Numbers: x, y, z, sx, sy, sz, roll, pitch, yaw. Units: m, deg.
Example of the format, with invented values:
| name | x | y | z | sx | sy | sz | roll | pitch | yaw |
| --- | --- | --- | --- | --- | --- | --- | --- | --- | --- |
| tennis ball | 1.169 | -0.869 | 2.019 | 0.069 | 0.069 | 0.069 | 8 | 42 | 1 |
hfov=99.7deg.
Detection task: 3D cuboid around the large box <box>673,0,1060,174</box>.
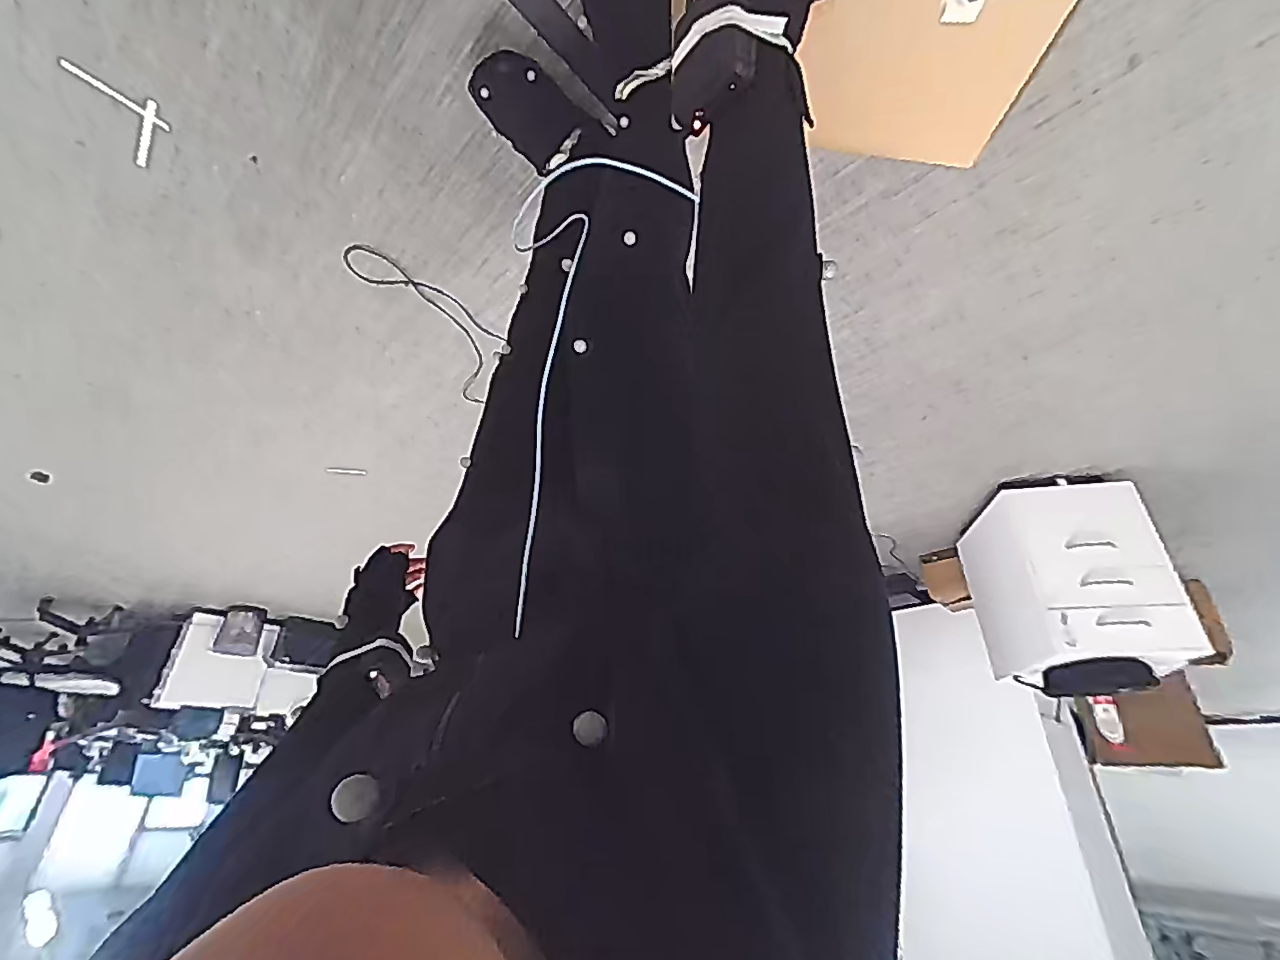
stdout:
| name | x | y | z | sx | sy | sz | roll | pitch | yaw |
| --- | --- | --- | --- | --- | --- | --- | --- | --- | --- |
| large box | 0.208 | -0.568 | 0.524 | 0.320 | 0.408 | 0.320 | 6 | 149 | -5 |
